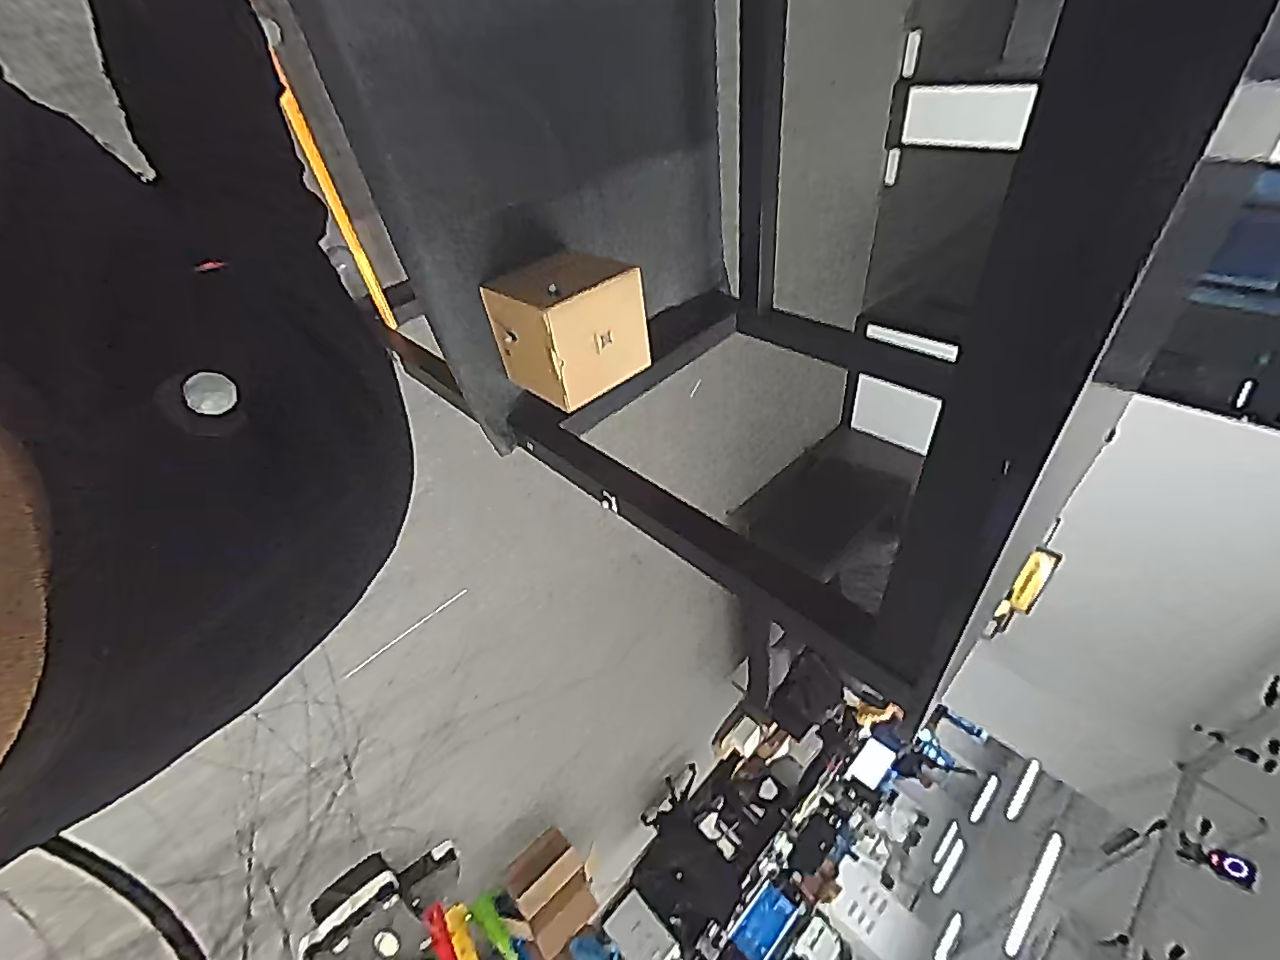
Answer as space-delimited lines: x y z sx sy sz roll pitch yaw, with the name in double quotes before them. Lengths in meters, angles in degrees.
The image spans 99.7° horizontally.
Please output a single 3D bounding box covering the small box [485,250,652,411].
"small box" -0.106 -0.239 0.836 0.179 0.176 0.168 -36 138 -27
